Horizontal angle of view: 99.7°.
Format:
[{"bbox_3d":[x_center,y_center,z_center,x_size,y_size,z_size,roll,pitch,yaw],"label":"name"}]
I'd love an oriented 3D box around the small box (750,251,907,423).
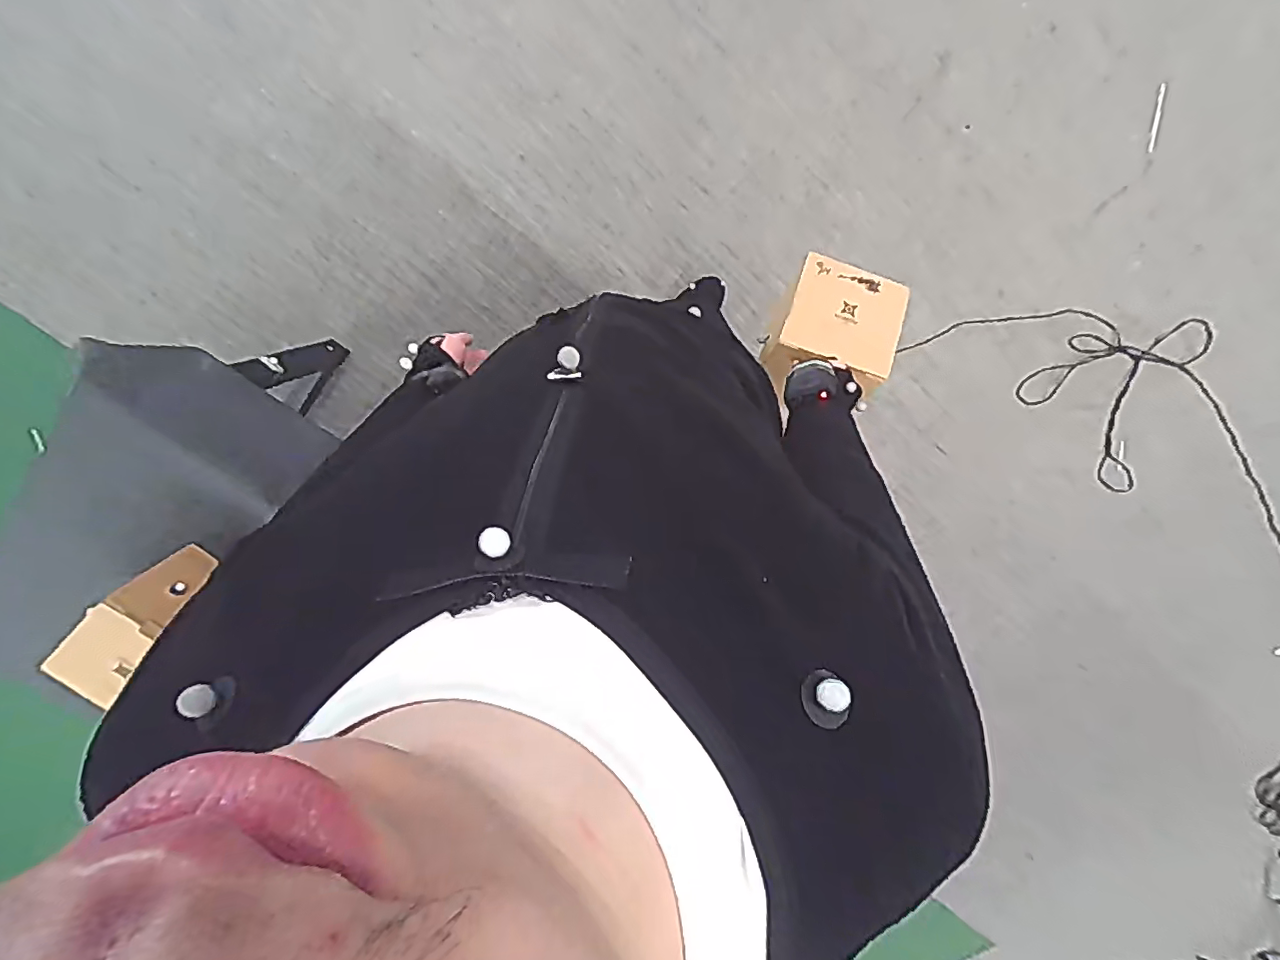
[{"bbox_3d":[0.289,-0.216,0.863,0.168,0.176,0.179,22,71,2],"label":"small box"}]
